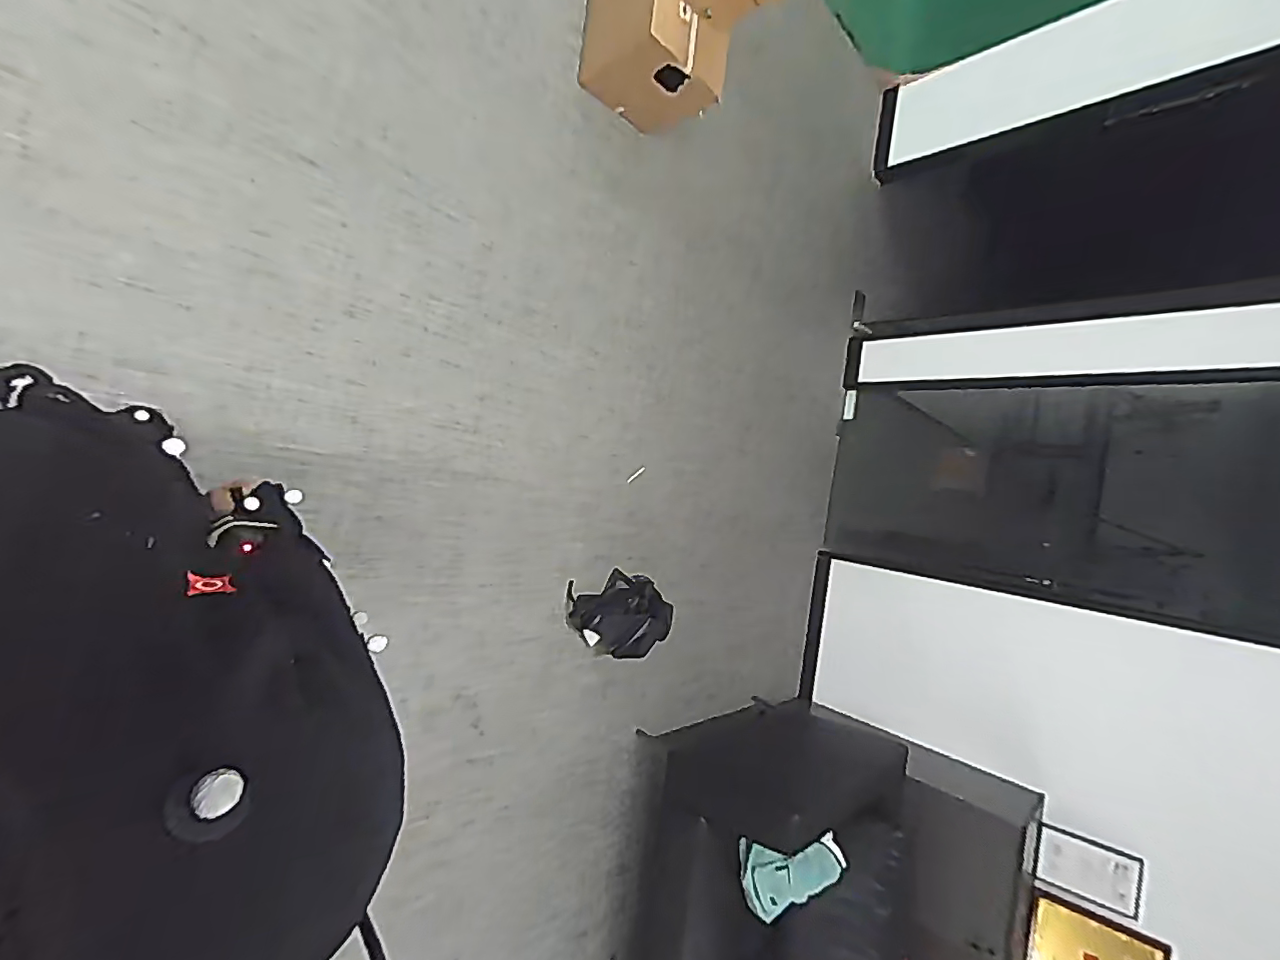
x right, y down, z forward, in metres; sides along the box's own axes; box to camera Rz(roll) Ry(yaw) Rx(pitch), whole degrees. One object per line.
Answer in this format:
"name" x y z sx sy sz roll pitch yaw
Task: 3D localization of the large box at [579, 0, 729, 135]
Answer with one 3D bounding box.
"large box" 0.044 -1.362 1.627 0.320 0.320 0.408 6 93 -44
